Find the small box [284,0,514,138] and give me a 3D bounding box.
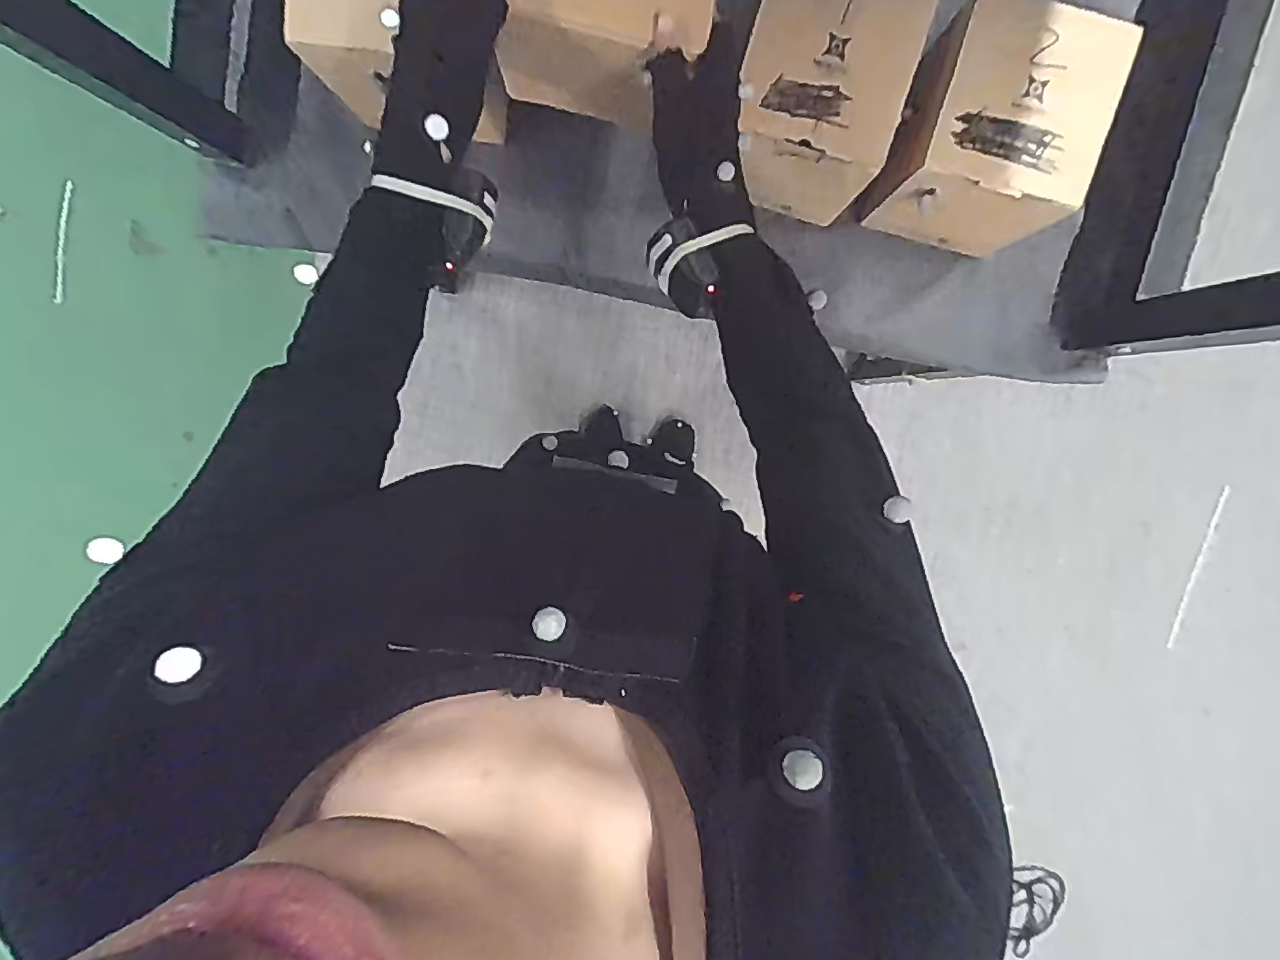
[{"bbox_3d":[-0.252,-0.510,0.598,0.179,0.176,0.168,7,99,-1],"label":"small box"}]
